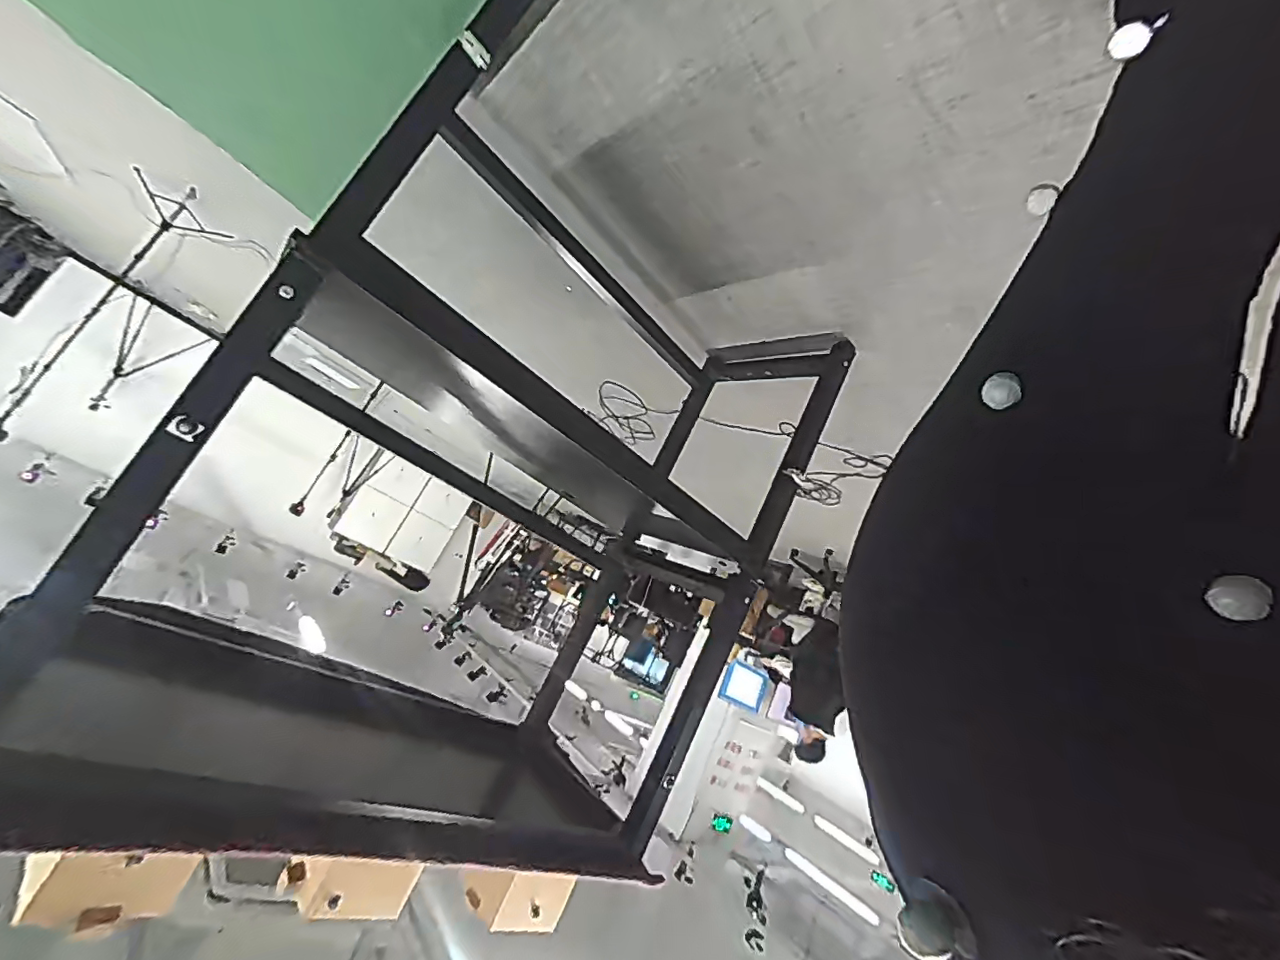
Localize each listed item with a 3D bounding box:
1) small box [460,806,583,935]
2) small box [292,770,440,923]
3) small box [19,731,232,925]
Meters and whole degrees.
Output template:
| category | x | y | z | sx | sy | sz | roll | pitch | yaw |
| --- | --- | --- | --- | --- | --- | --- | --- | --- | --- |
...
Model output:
| category | x | y | z | sx | sy | sz | roll | pitch | yaw |
| --- | --- | --- | --- | --- | --- | --- | --- | --- | --- |
| small box | -0.258 | 0.859 | 1.198 | 0.179 | 0.176 | 0.168 | 37 | 162 | -34 |
| small box | -0.506 | 0.675 | 1.007 | 0.179 | 0.176 | 0.168 | 37 | 165 | -35 |
| small box | -0.747 | 0.500 | 0.801 | 0.179 | 0.176 | 0.168 | 16 | 164 | 46 |
